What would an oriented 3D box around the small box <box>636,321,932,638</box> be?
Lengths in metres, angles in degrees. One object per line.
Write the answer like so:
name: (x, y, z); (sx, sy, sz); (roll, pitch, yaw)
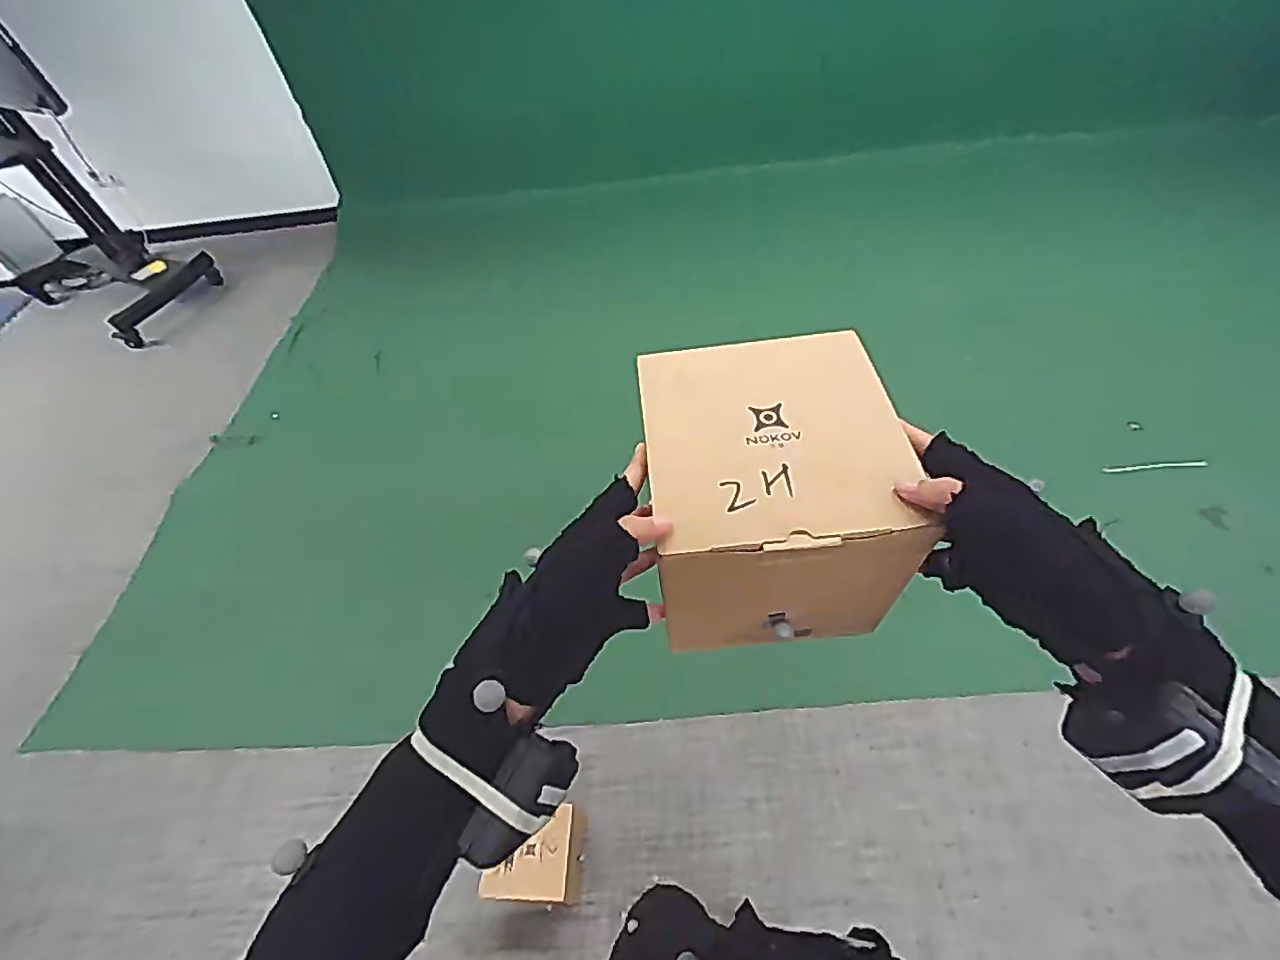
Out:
small box: (0.088, 0.005, 0.422); (0.168, 0.176, 0.179); (-7, 54, 3)
